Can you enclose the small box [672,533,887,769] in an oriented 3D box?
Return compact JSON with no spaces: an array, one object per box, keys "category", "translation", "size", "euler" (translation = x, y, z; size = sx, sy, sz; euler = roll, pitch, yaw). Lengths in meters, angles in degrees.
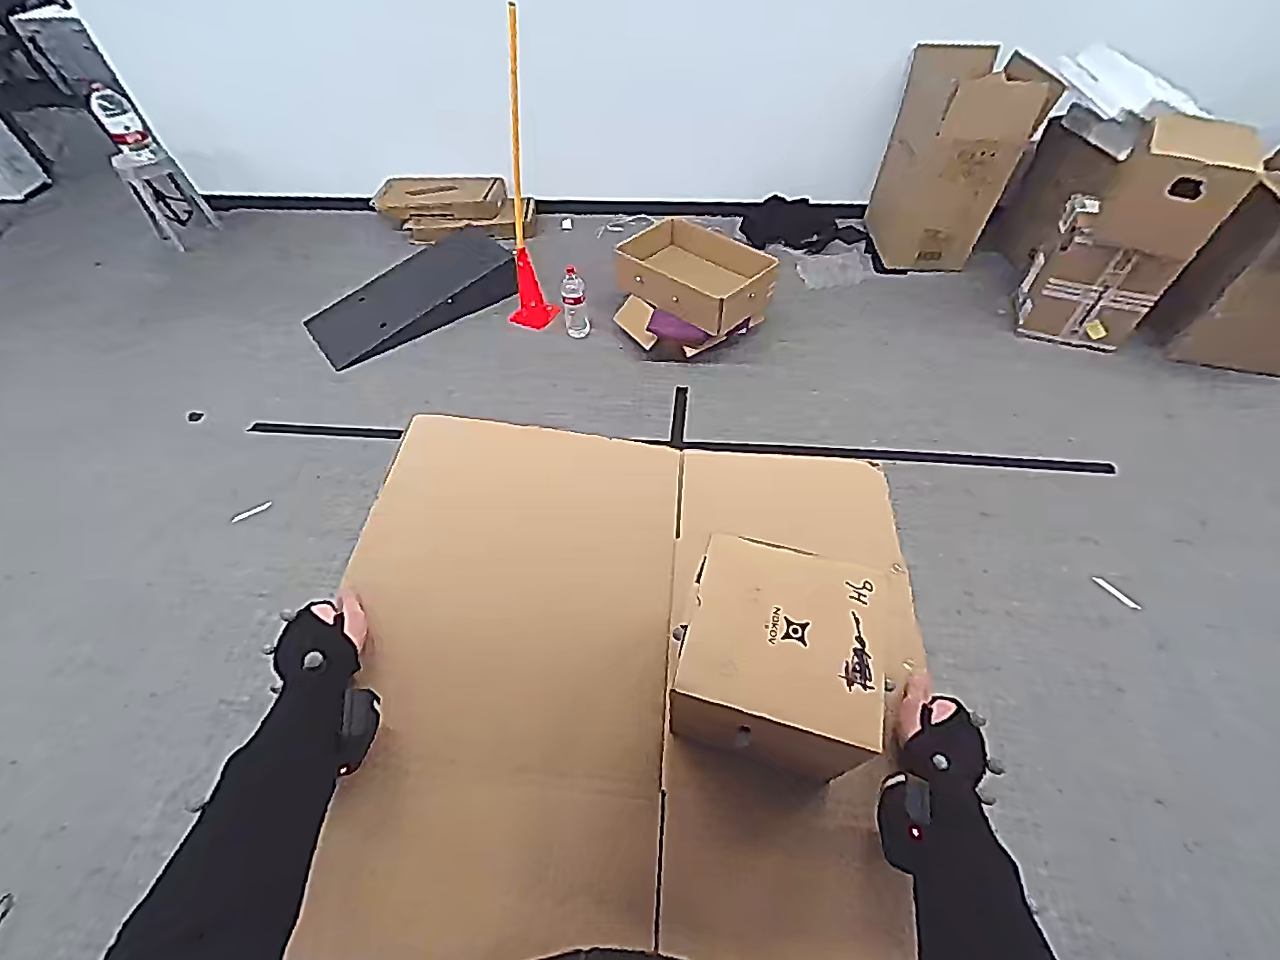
[{"category":"small box","translation":[0.139,0.181,0.563],"size":[0.179,0.176,0.168],"euler":[12,56,12]}]
